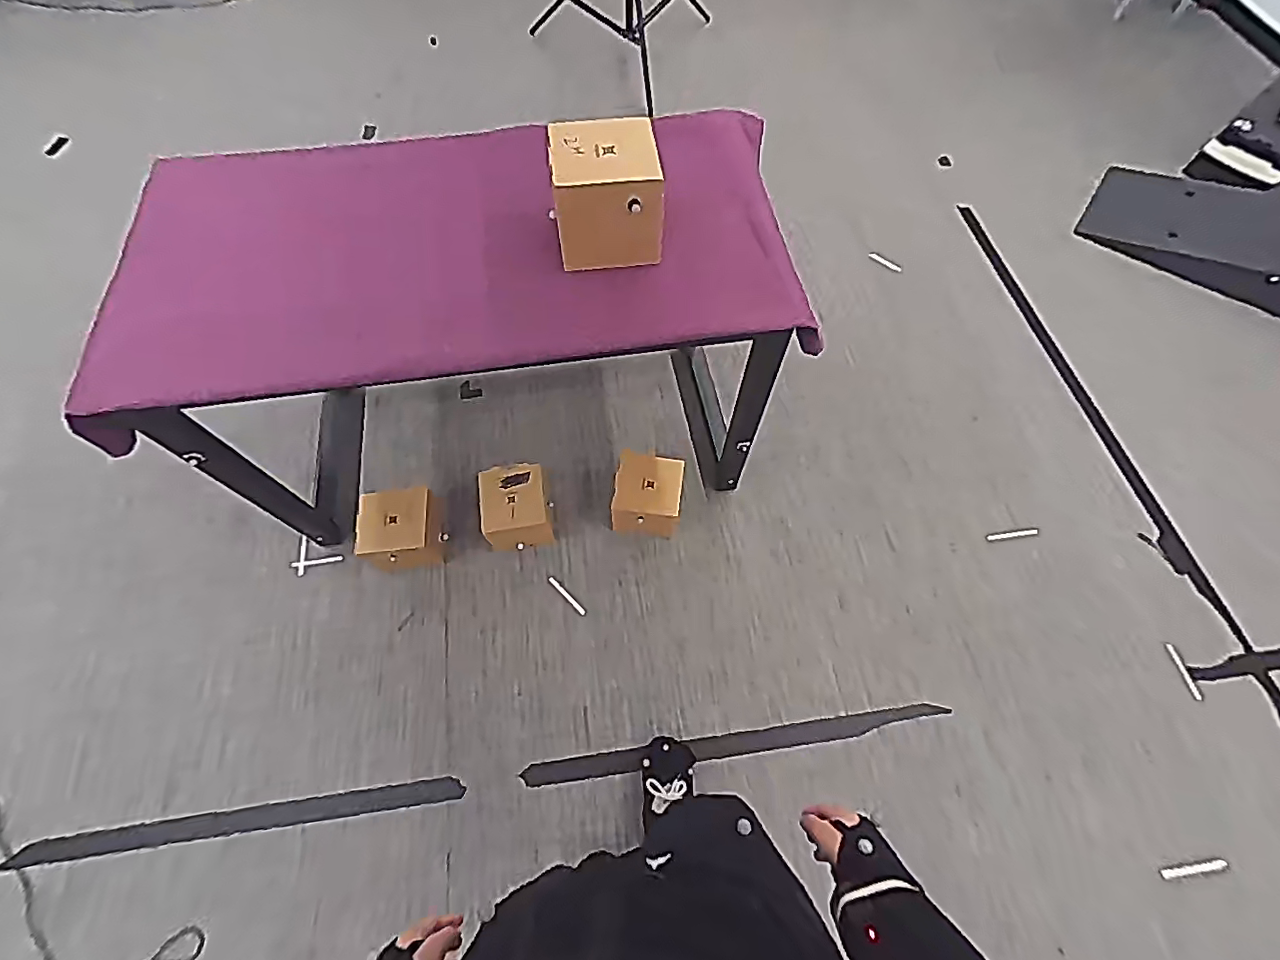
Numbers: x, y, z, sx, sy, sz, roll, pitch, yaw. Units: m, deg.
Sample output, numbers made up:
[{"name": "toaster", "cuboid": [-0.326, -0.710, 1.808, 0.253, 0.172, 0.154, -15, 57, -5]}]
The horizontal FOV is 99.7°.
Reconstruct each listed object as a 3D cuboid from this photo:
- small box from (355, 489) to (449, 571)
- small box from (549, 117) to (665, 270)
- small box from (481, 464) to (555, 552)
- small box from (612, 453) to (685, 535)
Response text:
[{"name": "small box", "cuboid": [-0.628, 0.138, 1.446, 0.179, 0.176, 0.168, -5, 65, -4]}, {"name": "small box", "cuboid": [-0.057, -0.491, 0.940, 0.179, 0.176, 0.168, -7, 63, -3]}, {"name": "small box", "cuboid": [-0.329, 0.079, 1.473, 0.168, 0.176, 0.179, -9, 65, -4]}, {"name": "small box", "cuboid": [0.025, 0.044, 1.493, 0.179, 0.176, 0.168, 7, 65, 4]}]
